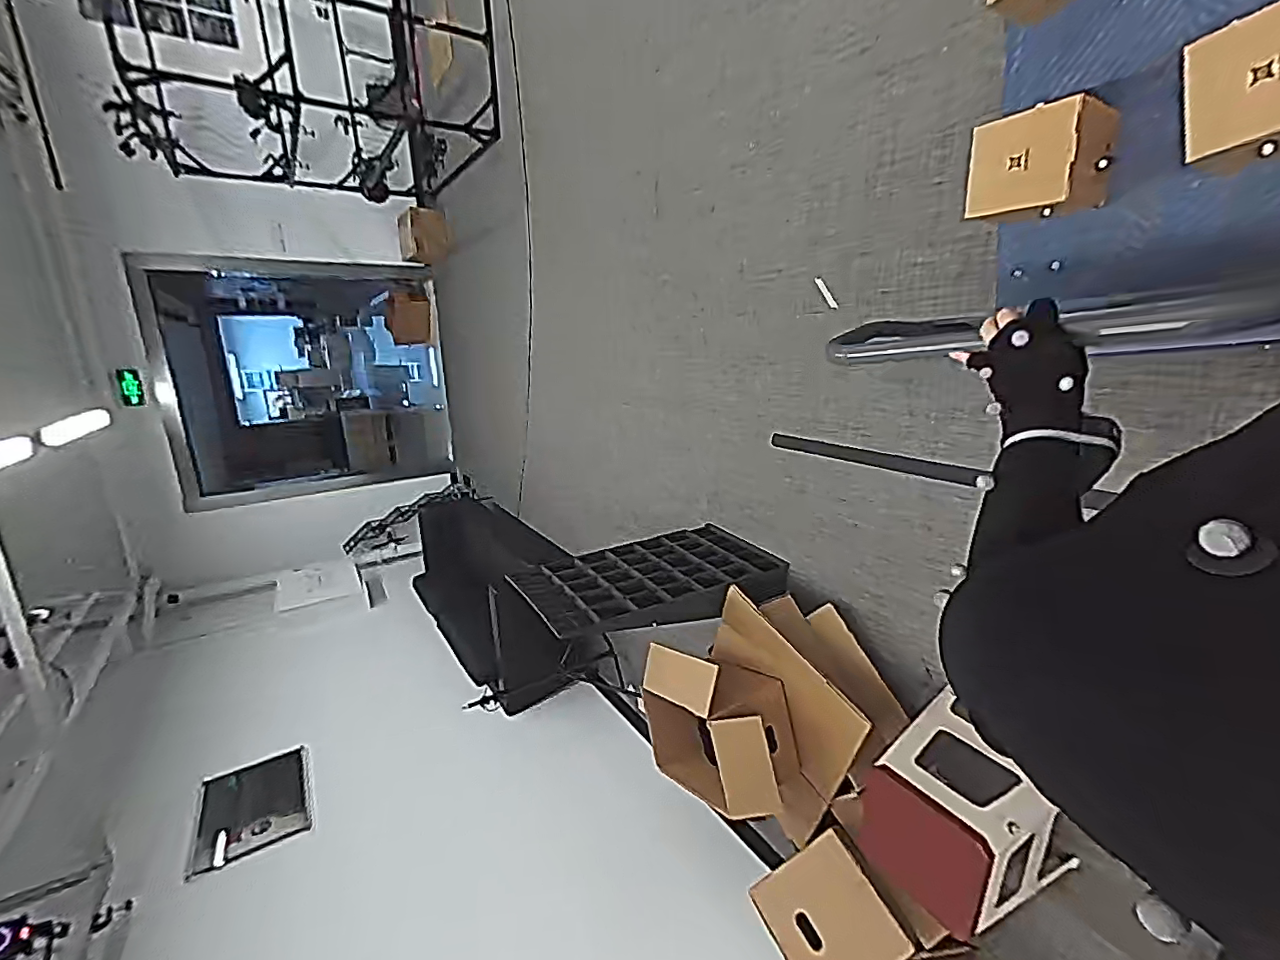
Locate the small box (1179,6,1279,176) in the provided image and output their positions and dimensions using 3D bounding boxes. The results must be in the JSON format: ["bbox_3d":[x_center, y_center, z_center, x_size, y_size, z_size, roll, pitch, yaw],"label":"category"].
[{"bbox_3d":[0.924,-0.564,0.779,0.179,0.176,0.168,3,103,58],"label":"small box"}]

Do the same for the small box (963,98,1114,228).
[{"bbox_3d":[0.760,-0.592,1.038,0.179,0.176,0.168,18,114,53],"label":"small box"}]
